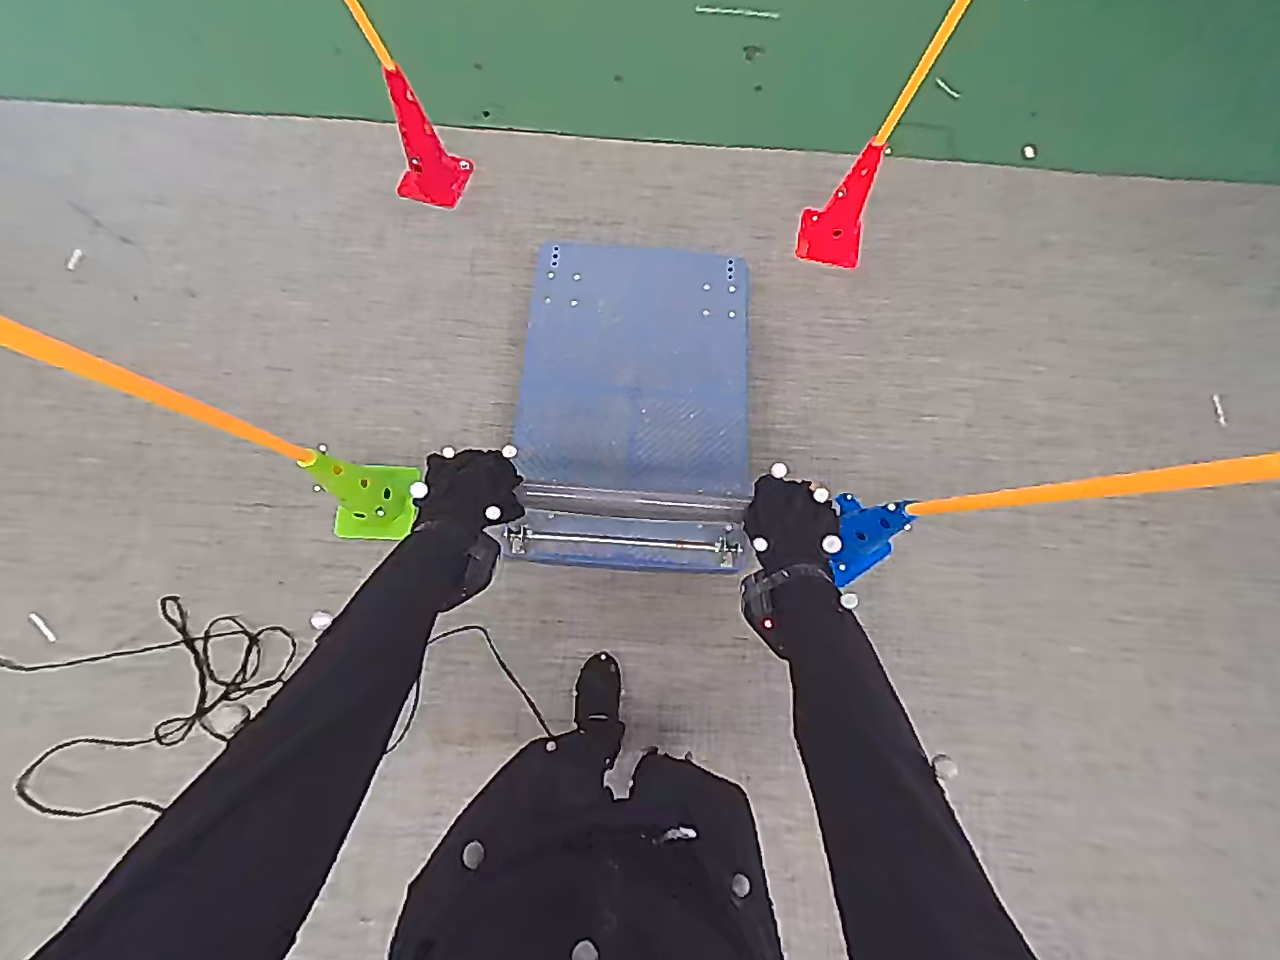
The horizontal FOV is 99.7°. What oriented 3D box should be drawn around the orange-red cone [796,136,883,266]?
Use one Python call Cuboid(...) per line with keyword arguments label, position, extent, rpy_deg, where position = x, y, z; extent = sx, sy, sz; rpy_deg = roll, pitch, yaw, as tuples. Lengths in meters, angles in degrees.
Cuboid(label="orange-red cone", position=(0.614, -0.832, 1.578), extent=(0.198, 0.360, 0.199), rpy_deg=(14, 74, 3))
